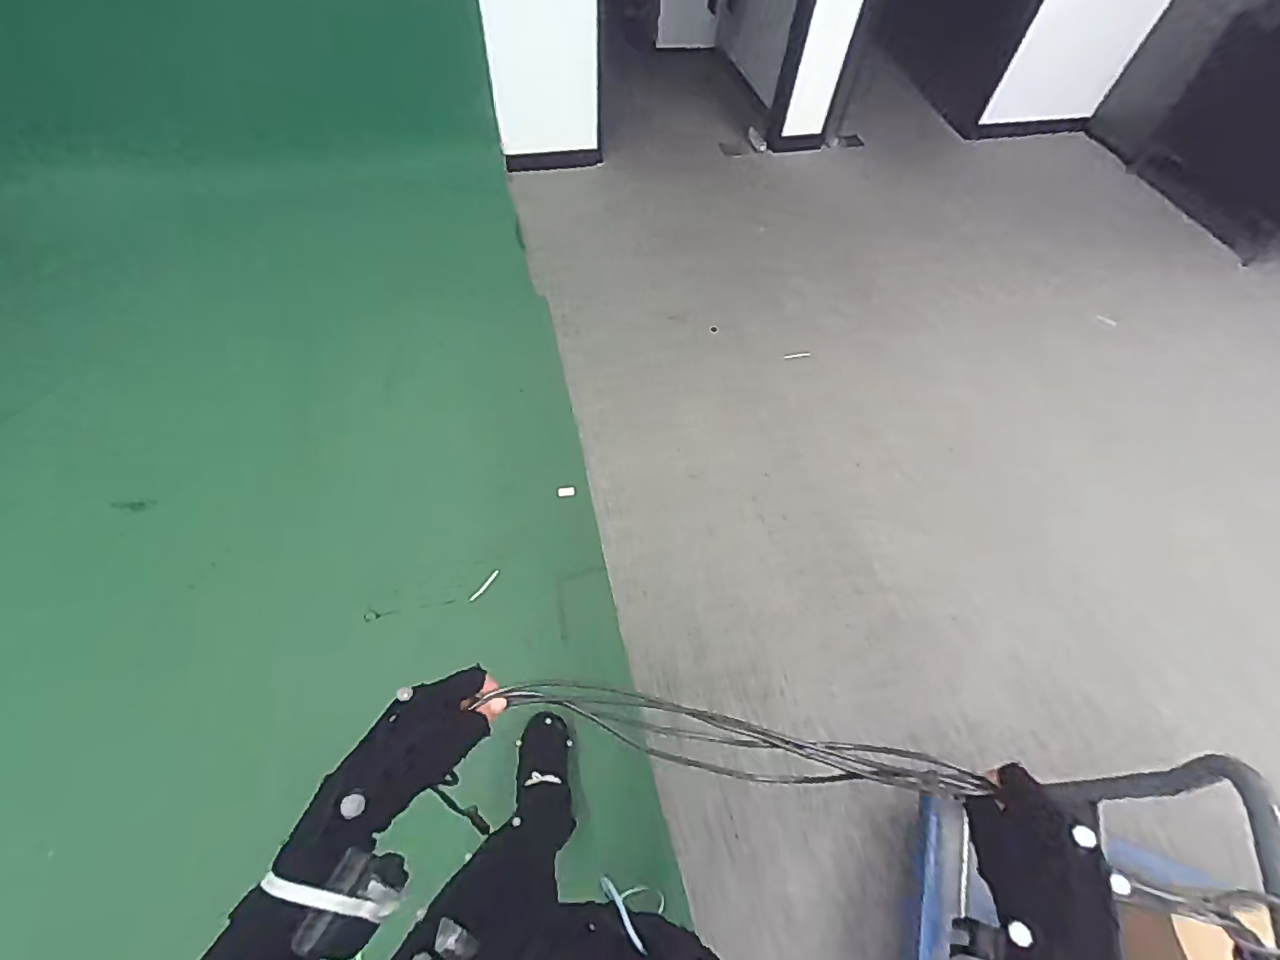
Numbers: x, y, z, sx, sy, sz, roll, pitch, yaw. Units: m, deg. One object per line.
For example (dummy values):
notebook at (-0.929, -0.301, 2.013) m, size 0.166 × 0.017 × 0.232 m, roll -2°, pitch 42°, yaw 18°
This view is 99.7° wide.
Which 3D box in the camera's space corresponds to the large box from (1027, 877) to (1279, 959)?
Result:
large box at (0.918, 0.879, 0.840) m, size 0.320 × 0.320 × 0.408 m, roll 1°, pitch 57°, yaw -4°
